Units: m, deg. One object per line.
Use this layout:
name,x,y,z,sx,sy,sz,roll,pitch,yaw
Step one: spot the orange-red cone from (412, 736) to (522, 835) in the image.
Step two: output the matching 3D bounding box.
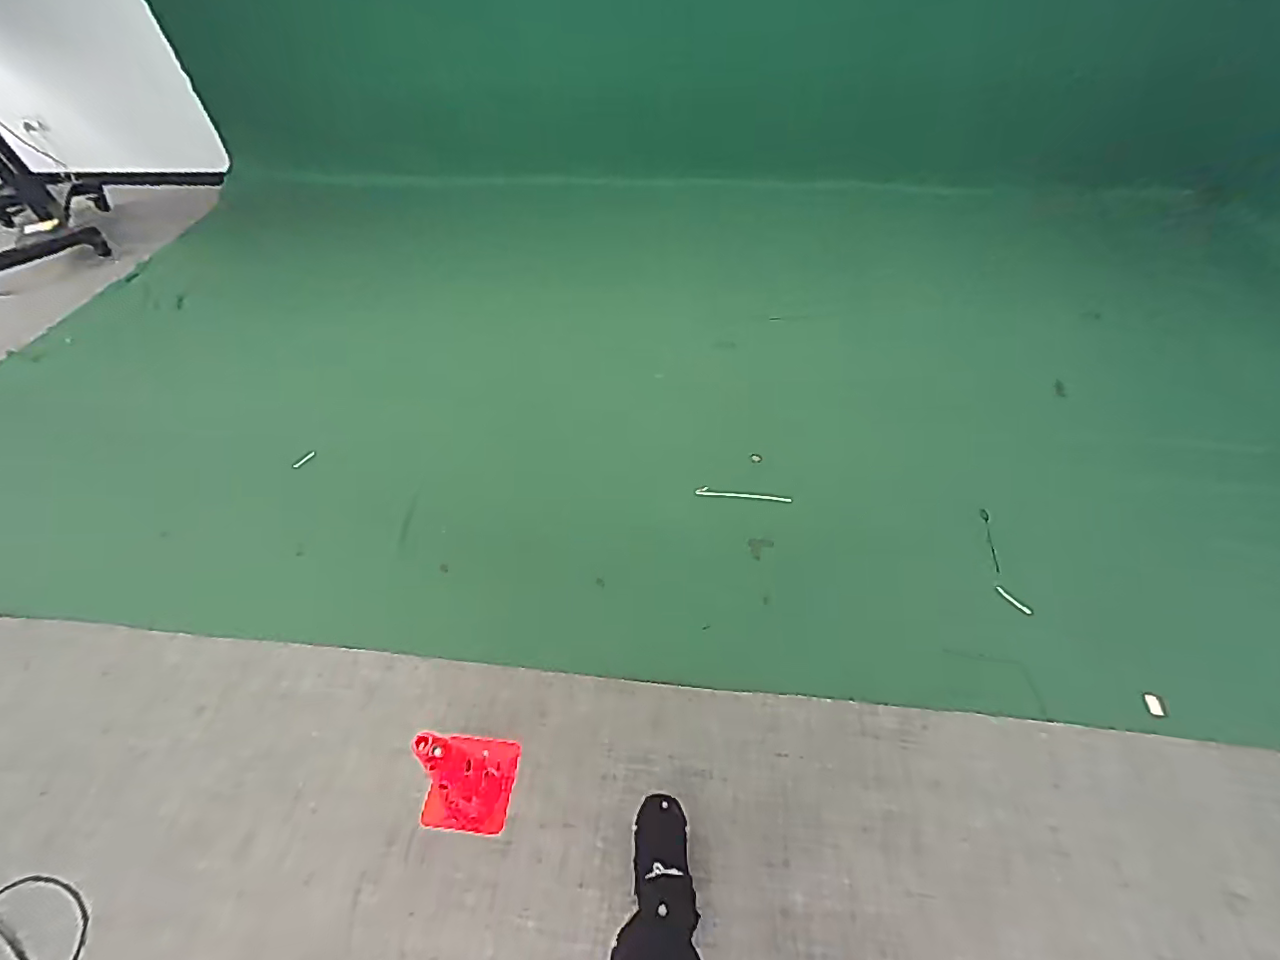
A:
orange-red cone,-0.407,0.623,1.170,0.198,0.360,0.199,3,51,7
